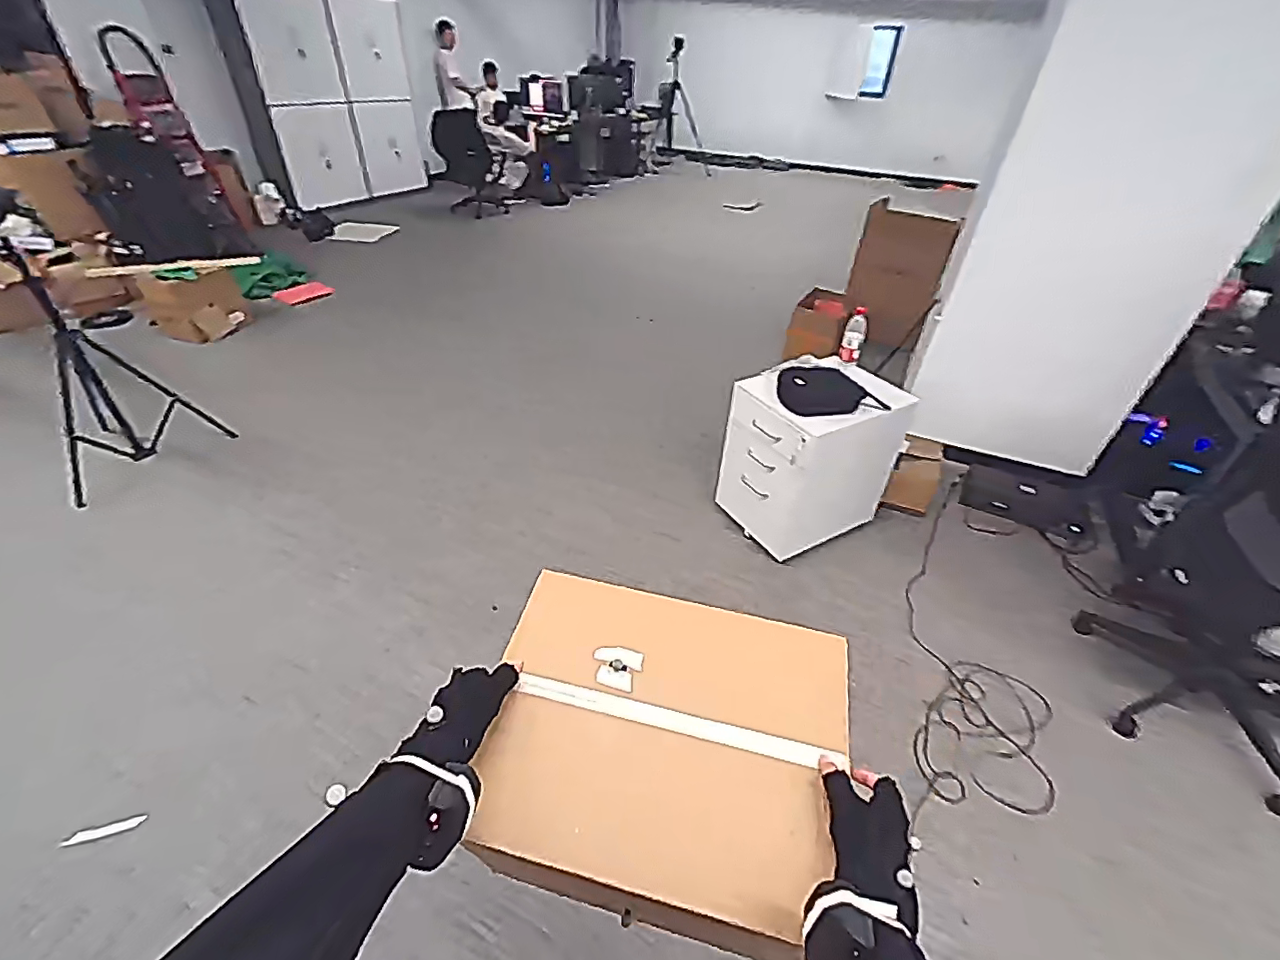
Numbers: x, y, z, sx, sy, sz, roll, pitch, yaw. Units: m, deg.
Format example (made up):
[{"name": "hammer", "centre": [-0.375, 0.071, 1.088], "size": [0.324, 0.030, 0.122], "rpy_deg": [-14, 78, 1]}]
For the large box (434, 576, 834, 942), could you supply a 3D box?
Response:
[{"name": "large box", "centre": [0.017, 0.372, 0.727], "size": [0.408, 0.320, 0.320], "rpy_deg": [10, 48, 9]}]
